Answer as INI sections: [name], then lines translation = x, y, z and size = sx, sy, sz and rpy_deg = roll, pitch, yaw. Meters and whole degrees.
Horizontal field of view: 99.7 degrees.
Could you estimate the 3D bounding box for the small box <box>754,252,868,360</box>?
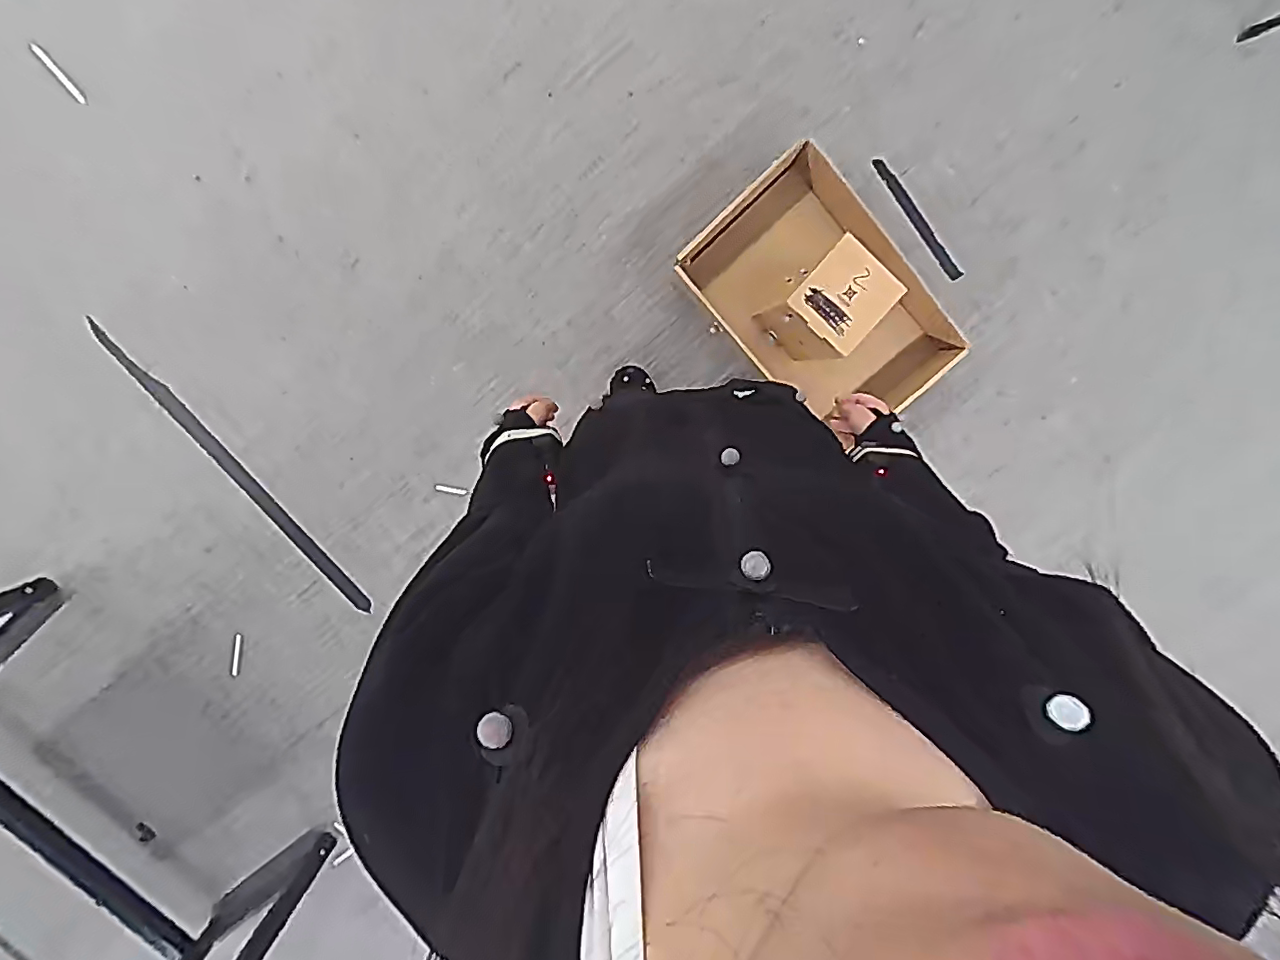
[small box]
translation = 0.398, -0.409, 1.296
size = 0.168, 0.176, 0.179
rpy_deg = 42, 100, -7
